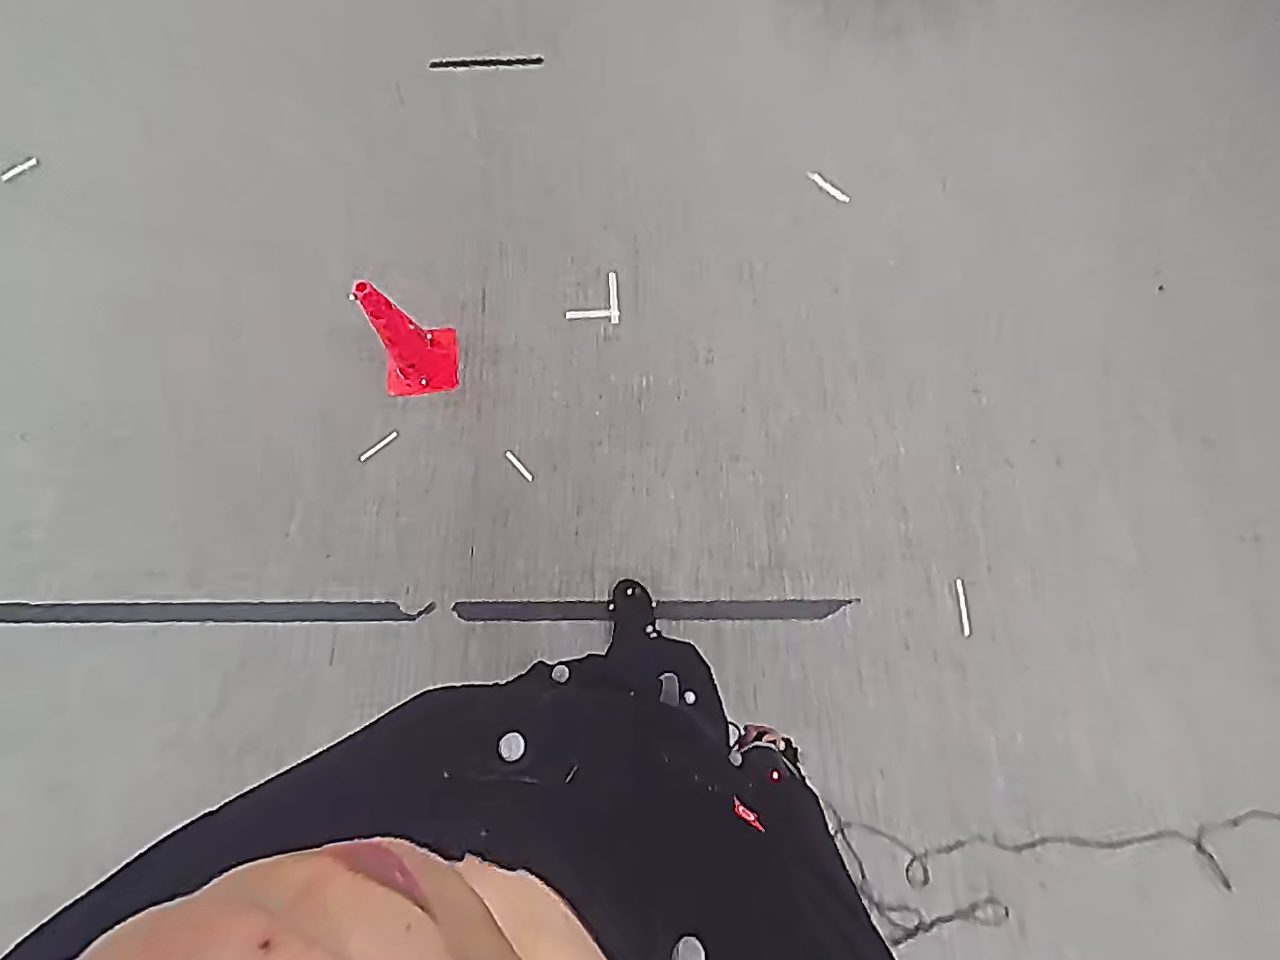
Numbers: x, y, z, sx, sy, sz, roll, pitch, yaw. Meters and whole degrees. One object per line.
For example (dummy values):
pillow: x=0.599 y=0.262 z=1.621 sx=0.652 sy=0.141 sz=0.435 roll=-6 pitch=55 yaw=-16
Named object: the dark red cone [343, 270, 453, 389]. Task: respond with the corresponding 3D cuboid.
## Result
dark red cone: x=-0.624 y=-0.391 z=1.349 sx=0.202 sy=0.394 sz=0.201 roll=-8 pitch=76 yaw=-2
